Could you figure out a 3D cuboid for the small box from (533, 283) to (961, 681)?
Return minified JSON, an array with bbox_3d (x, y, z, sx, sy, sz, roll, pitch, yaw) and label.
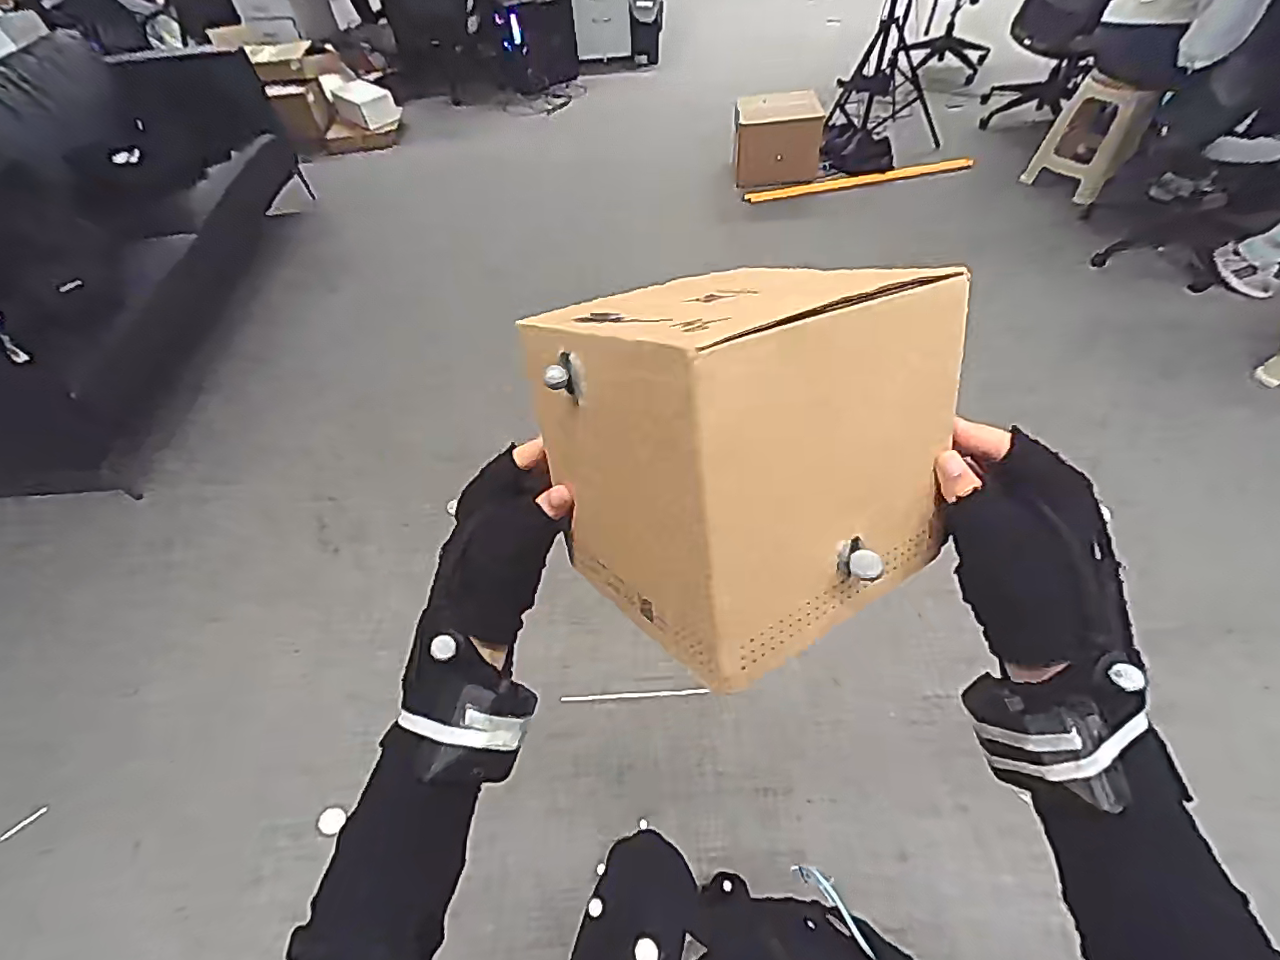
[{"bbox_3d":[0.058,-0.020,0.329,0.179,0.176,0.168,-22,27,-28],"label":"small box"}]
